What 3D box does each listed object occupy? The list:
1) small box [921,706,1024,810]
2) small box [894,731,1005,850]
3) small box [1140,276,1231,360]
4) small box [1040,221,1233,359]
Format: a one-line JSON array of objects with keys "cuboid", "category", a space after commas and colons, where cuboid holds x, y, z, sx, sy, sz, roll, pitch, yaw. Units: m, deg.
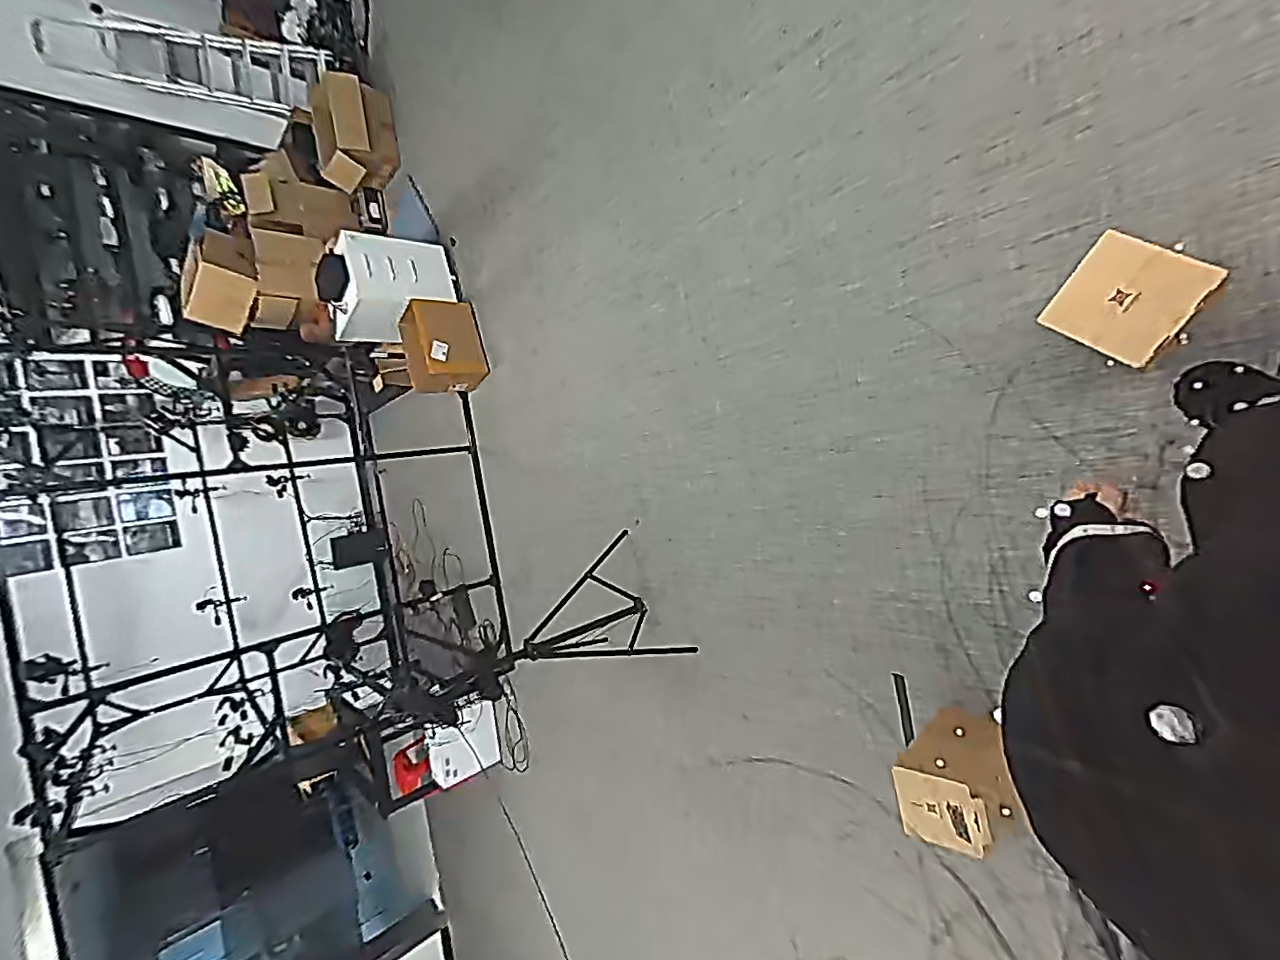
[{"cuboid": [0.859, 0.701, 1.388, 0.179, 0.176, 0.168, -15, 86, 50], "category": "small box"}, {"cuboid": [0.736, 0.719, 1.279, 0.179, 0.176, 0.168, -13, 88, 49], "category": "small box"}, {"cuboid": [0.967, -0.340, 1.041, 0.179, 0.176, 0.168, 47, 129, 32], "category": "small box"}, {"cuboid": [0.847, -0.319, 0.932, 0.179, 0.176, 0.168, 45, 127, 31], "category": "small box"}]
